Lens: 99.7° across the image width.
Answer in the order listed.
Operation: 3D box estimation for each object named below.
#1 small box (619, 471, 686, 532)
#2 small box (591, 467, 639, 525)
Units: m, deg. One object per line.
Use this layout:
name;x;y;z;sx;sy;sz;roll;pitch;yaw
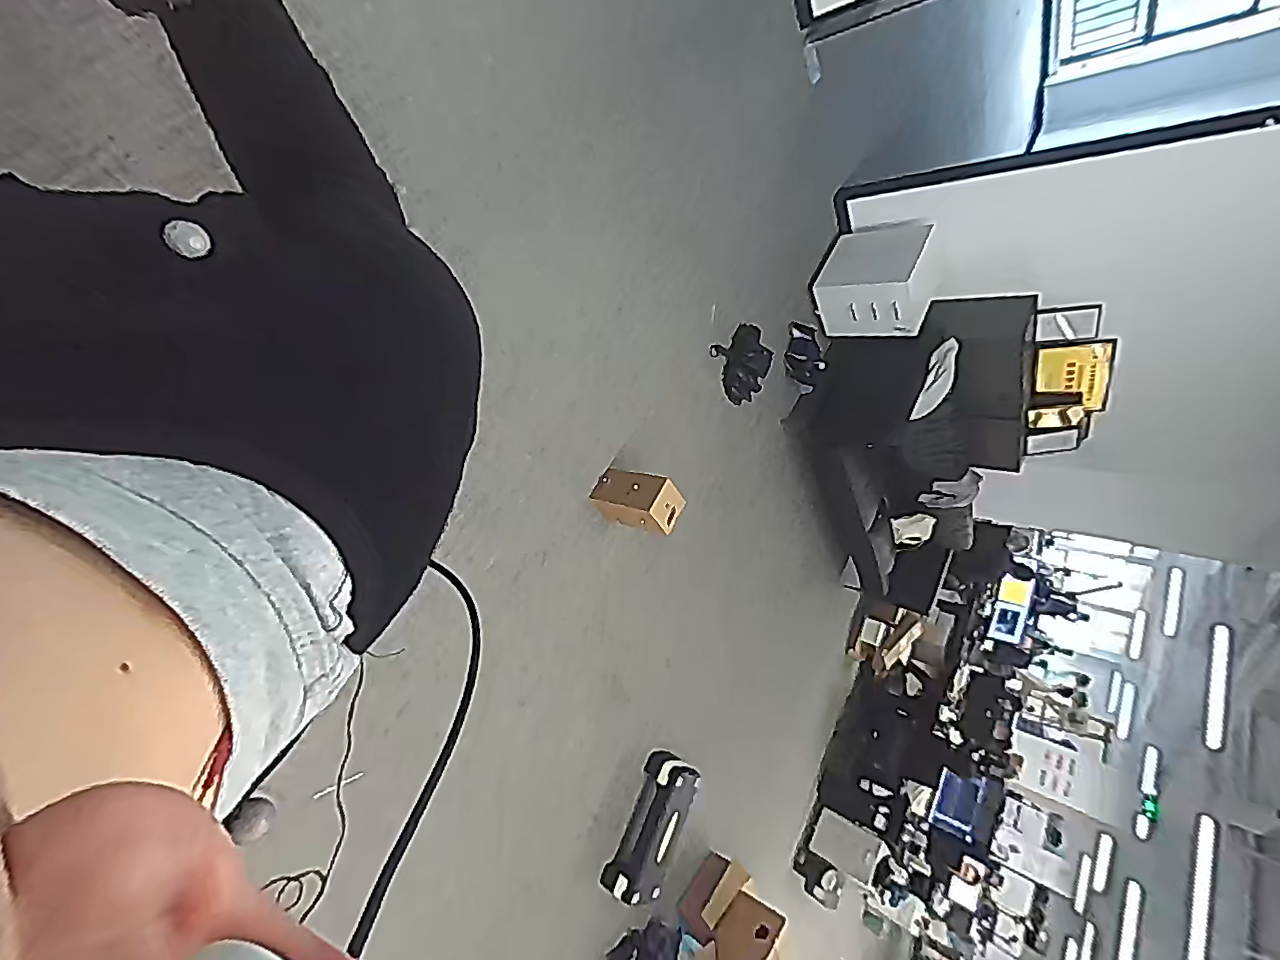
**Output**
small box;0.050;0.080;2.160;0.168;0.176;0.179;-60;136;-22
small box;-0.073;0.062;2.269;0.179;0.176;0.168;51;59;-41
